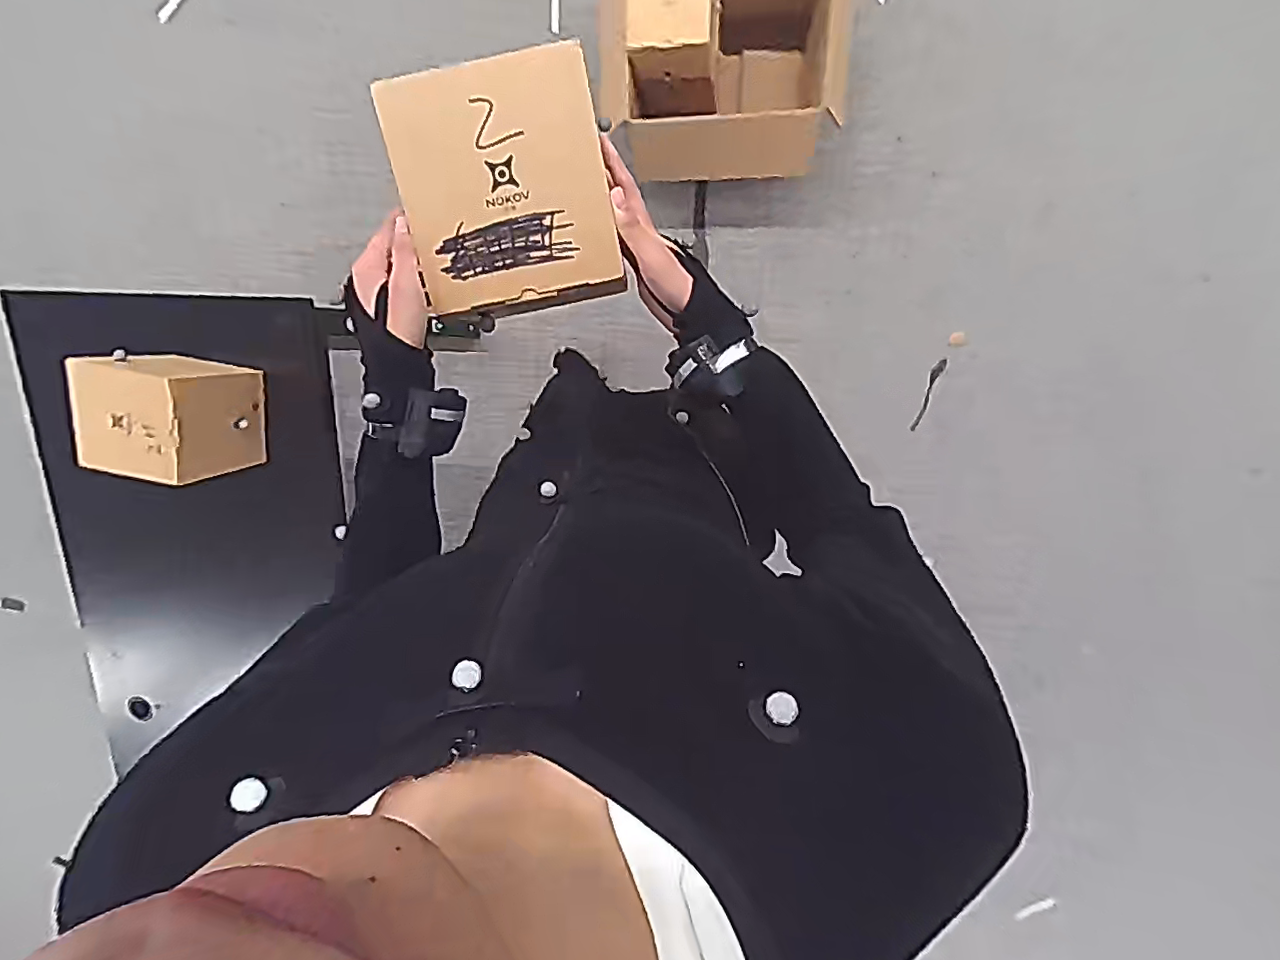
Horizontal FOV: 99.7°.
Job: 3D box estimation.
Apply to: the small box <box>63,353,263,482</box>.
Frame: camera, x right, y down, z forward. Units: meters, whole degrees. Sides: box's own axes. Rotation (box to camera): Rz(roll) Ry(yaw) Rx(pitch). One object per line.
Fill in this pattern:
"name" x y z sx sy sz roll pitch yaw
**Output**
"small box" -0.756 -0.109 0.875 0.179 0.176 0.168 11 107 5
